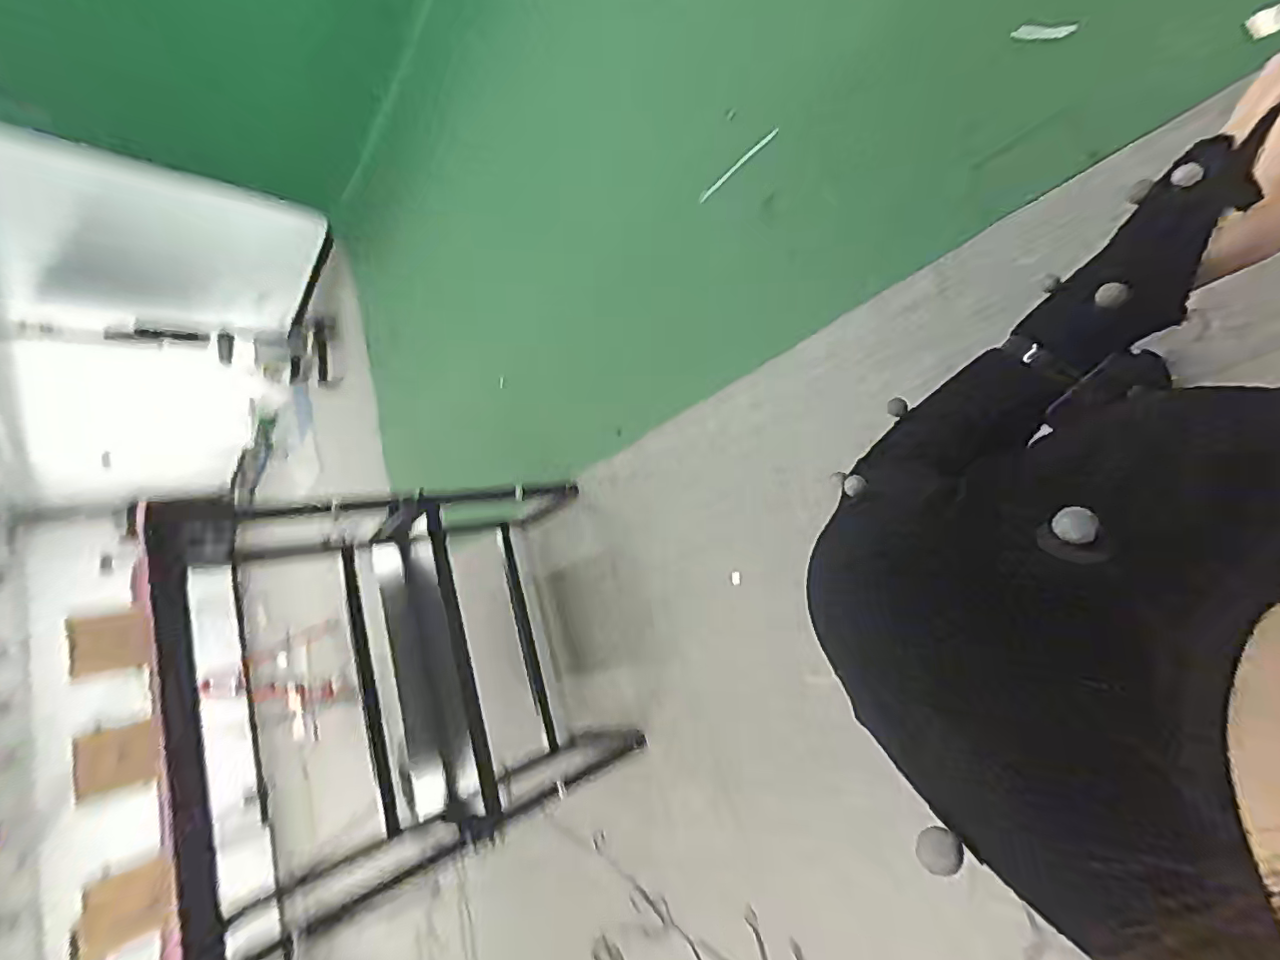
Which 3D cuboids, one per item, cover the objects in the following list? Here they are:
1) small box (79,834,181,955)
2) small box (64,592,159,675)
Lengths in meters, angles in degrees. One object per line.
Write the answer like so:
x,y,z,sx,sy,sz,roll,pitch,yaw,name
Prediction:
-1.213,0.976,1.292,0.179,0.176,0.168,-33,69,42,small box
-1.395,0.404,1.432,0.179,0.176,0.168,-26,75,42,small box
